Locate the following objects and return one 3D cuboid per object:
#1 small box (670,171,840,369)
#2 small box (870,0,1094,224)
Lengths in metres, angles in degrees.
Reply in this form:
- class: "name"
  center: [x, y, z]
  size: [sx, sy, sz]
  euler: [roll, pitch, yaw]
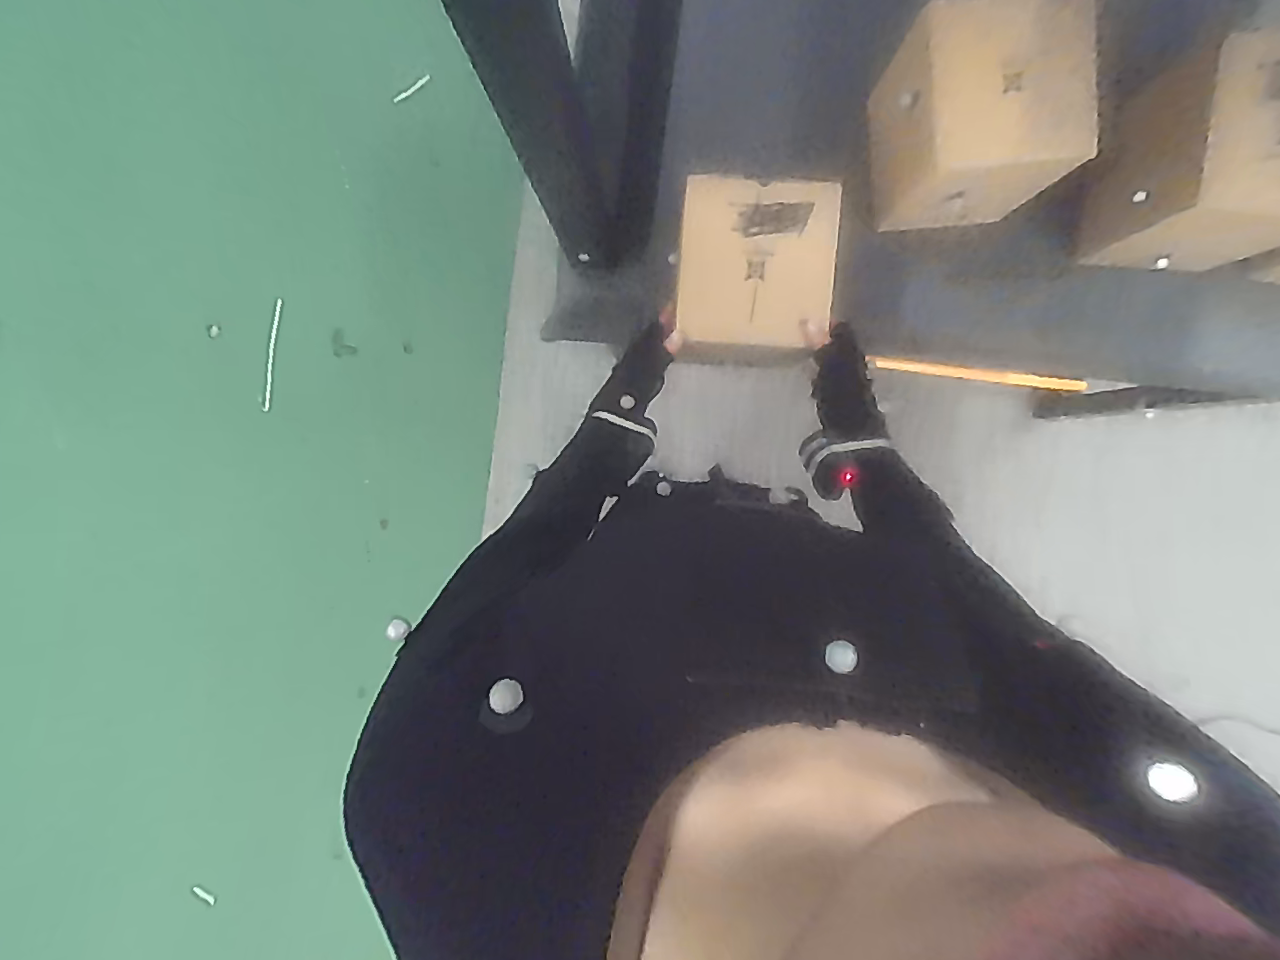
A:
- class: "small box"
  center: [0.126, -0.239, 0.655]
  size: [0.168, 0.176, 0.179]
  euler: [5, 94, 2]
- class: "small box"
  center: [0.386, -0.420, 0.638]
  size: [0.168, 0.176, 0.179]
  euler: [-4, 92, 3]
